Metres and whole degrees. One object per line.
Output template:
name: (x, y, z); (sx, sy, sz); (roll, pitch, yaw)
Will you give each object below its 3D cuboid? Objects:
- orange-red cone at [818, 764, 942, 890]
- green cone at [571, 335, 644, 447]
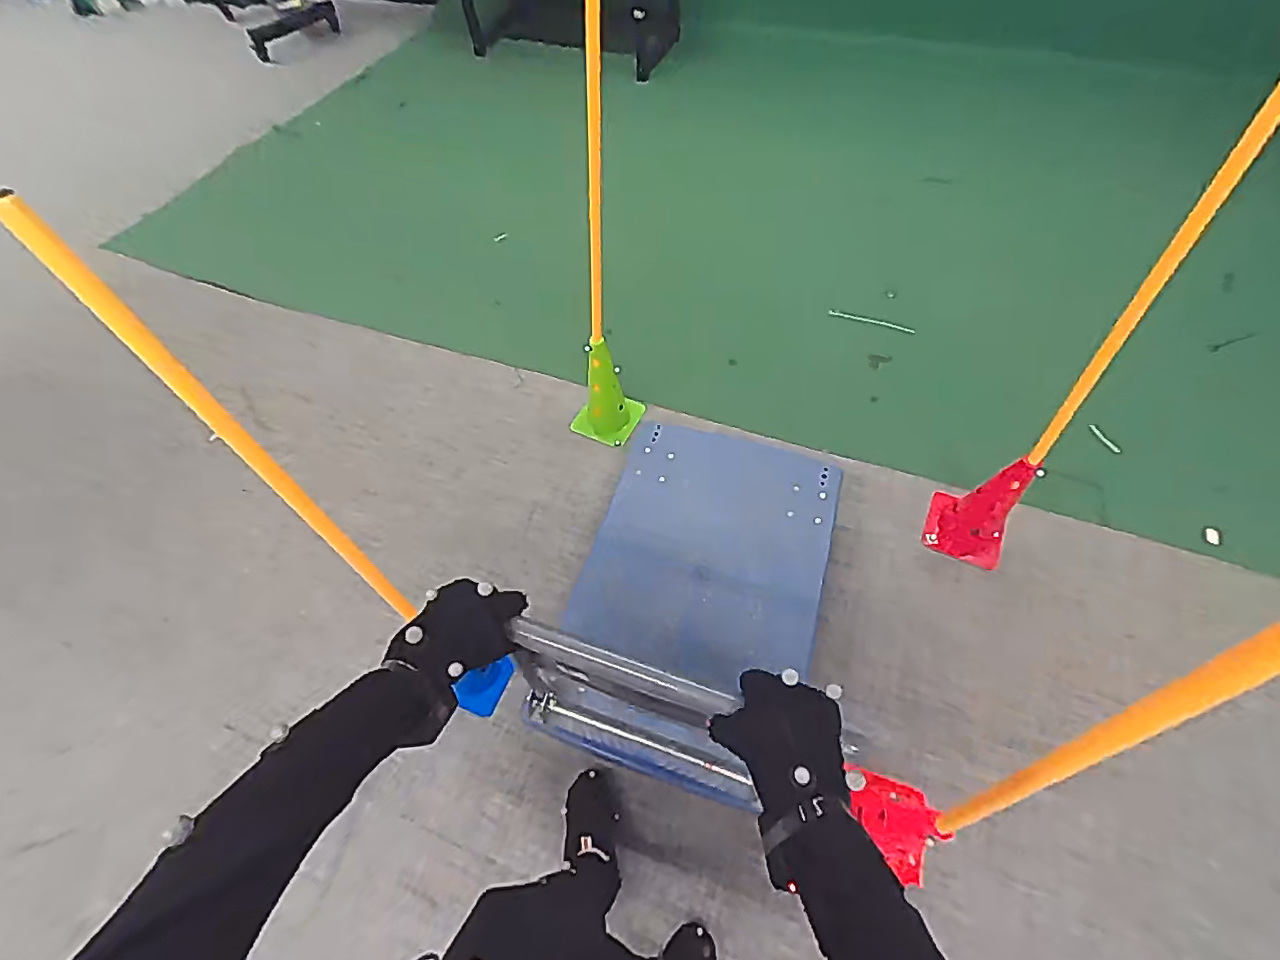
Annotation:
orange-red cone: (0.497, 0.669, 1.056); (0.199, 0.360, 0.198); (16, 59, 15)
green cone: (-0.118, -0.306, 1.698); (0.202, 0.368, 0.200); (21, 60, 16)
